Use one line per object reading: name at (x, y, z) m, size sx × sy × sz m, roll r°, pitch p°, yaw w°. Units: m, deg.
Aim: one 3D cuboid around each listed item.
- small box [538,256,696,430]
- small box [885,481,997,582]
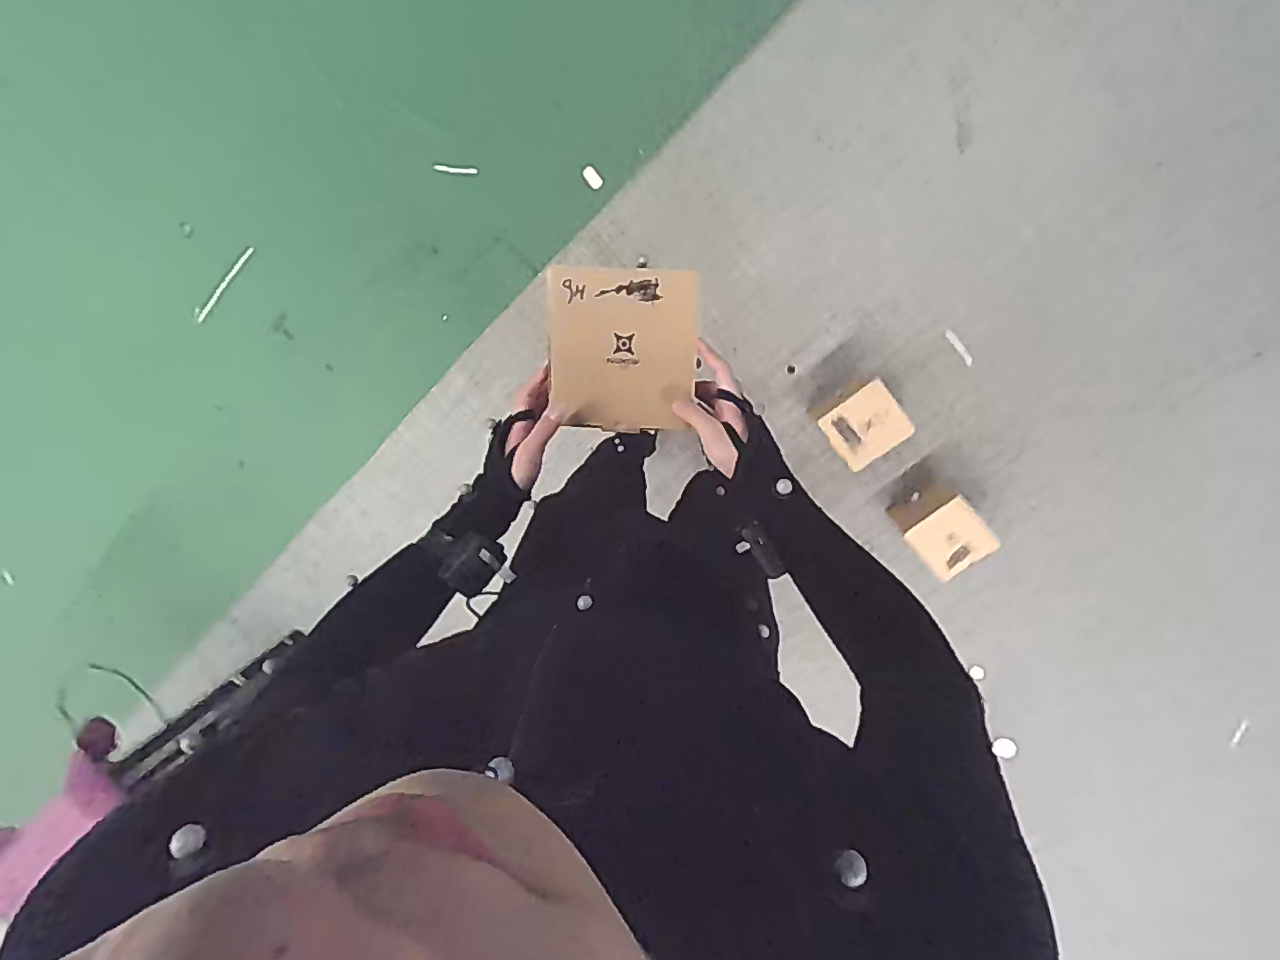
small box at (-0.026, -0.169, 0.654) m, size 0.168 × 0.176 × 0.179 m, roll 3°, pitch 109°, yaw 0°
small box at (0.785, 0.129, 1.426) m, size 0.168 × 0.176 × 0.179 m, roll -40°, pitch 96°, yaw 17°
